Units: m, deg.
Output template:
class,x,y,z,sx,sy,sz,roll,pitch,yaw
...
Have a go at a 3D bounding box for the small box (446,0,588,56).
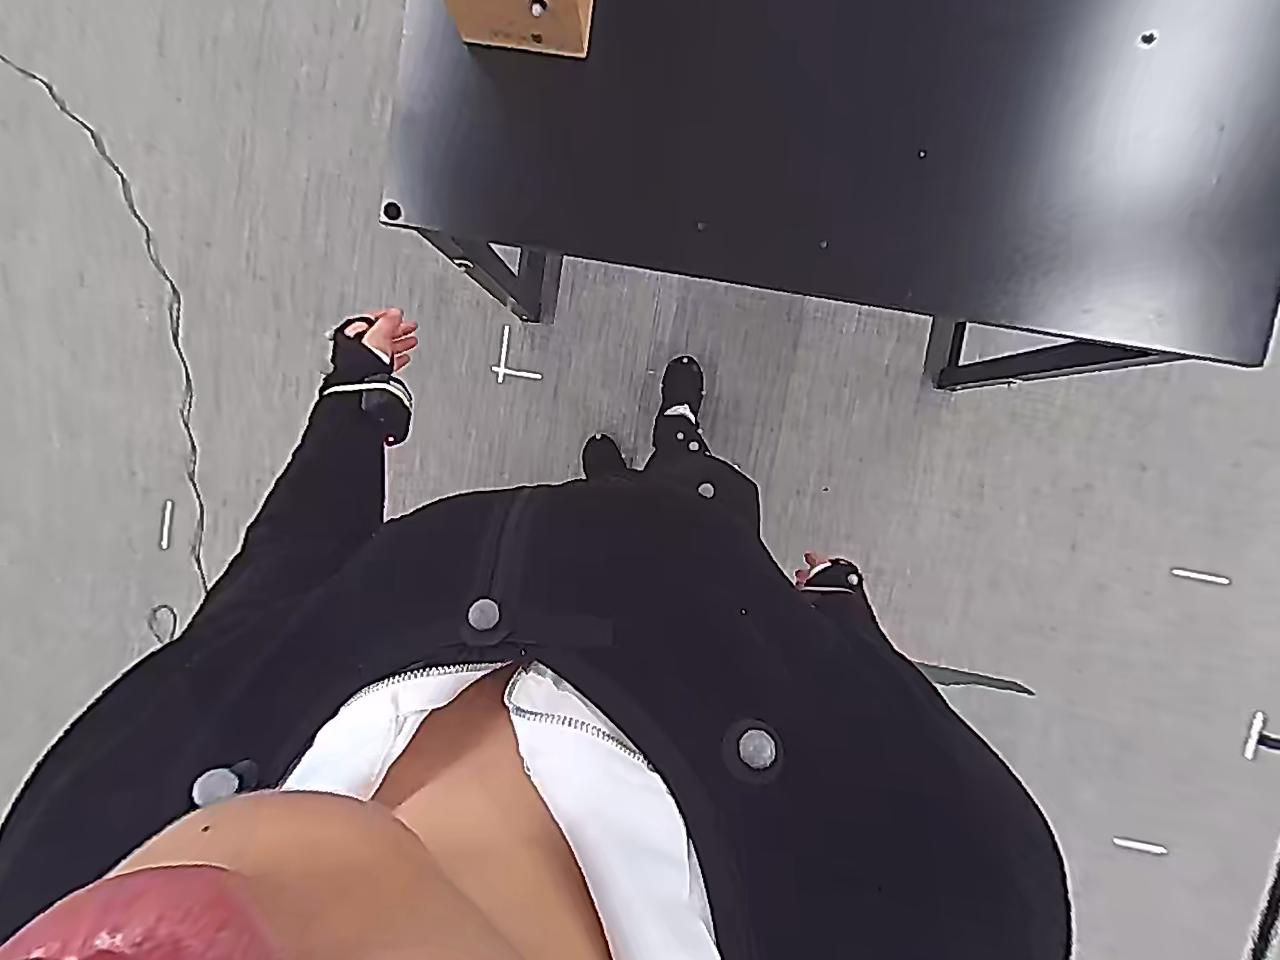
class,x,y,z,sx,sy,sz,roll,pitch,yaw
small box,-0.146,-0.644,0.628,0.168,0.176,0.179,7,94,-1
